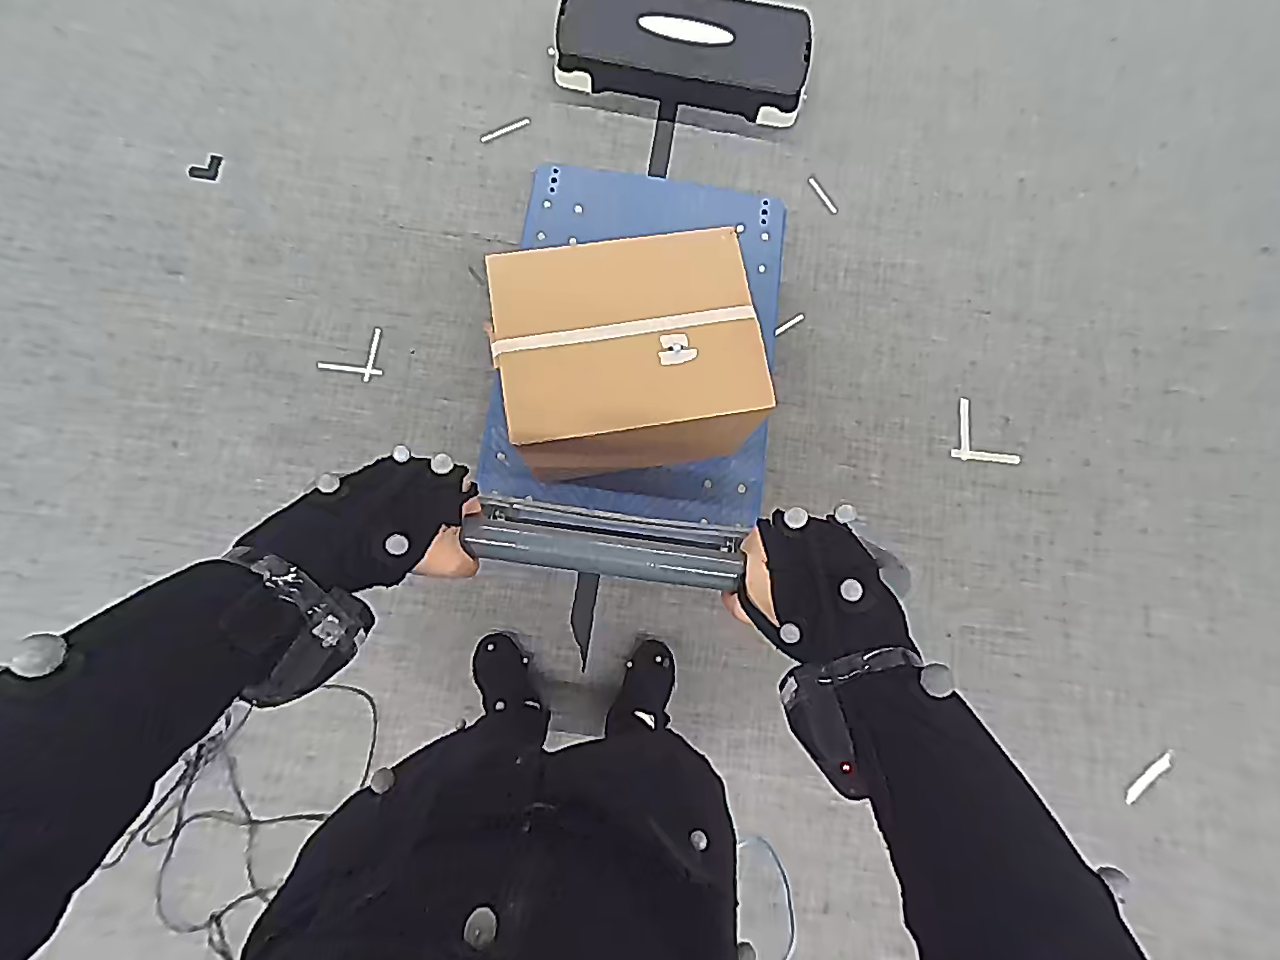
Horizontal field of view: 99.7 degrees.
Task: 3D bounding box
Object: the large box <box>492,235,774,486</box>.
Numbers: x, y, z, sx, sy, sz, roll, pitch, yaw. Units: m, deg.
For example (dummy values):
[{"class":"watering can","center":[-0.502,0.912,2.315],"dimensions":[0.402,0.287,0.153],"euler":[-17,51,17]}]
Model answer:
[{"class":"large box","center":[-0.024,-0.194,0.985],"dimensions":[0.408,0.320,0.320],"euler":[-9,80,-6]}]
